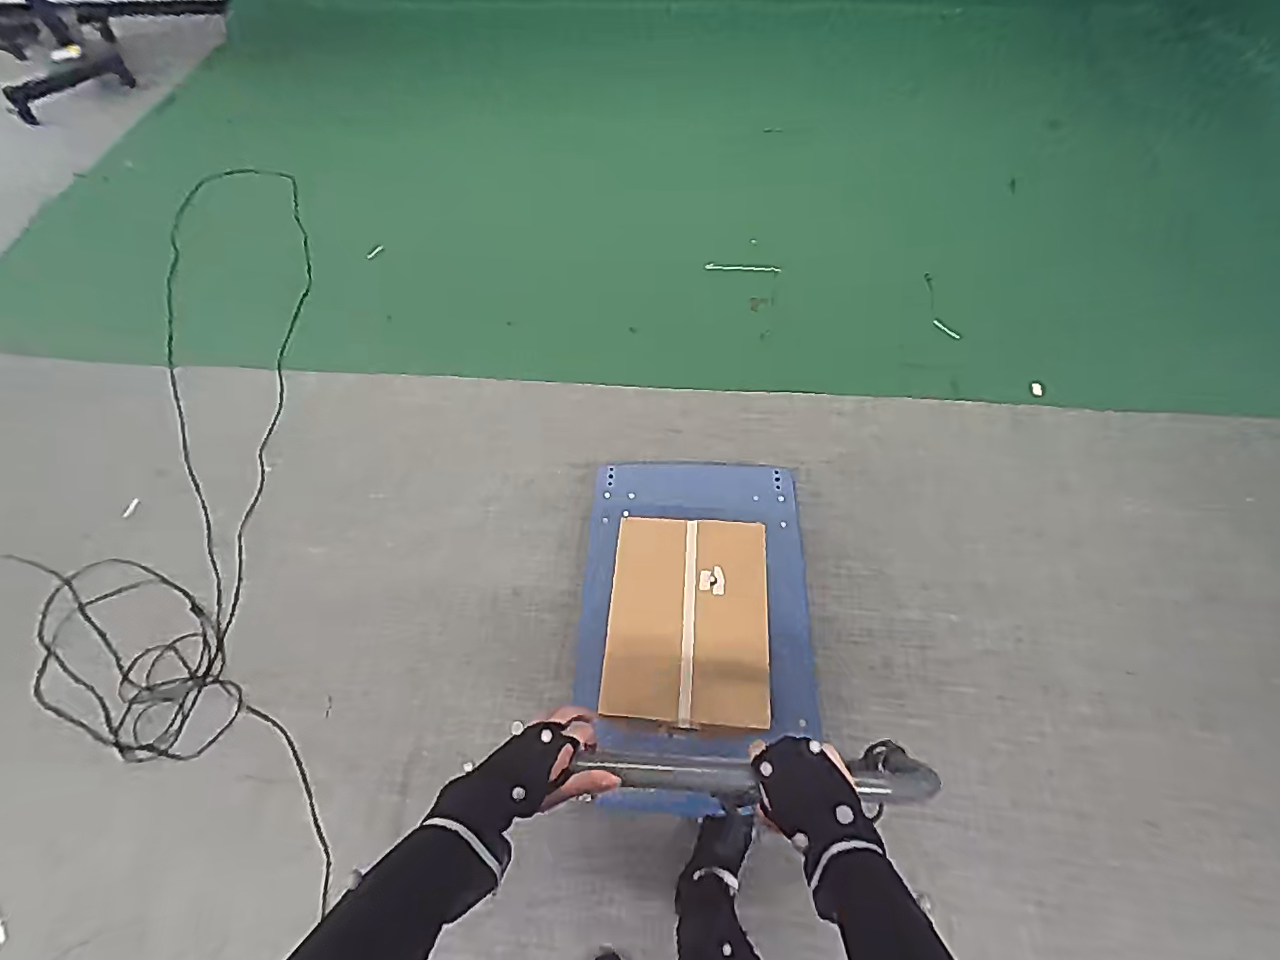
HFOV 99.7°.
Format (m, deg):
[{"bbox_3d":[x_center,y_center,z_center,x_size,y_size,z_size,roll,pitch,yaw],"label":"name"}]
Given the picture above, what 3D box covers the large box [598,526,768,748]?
[{"bbox_3d":[0.098,0.354,1.200,0.320,0.320,0.408,3,59,4],"label":"large box"}]
